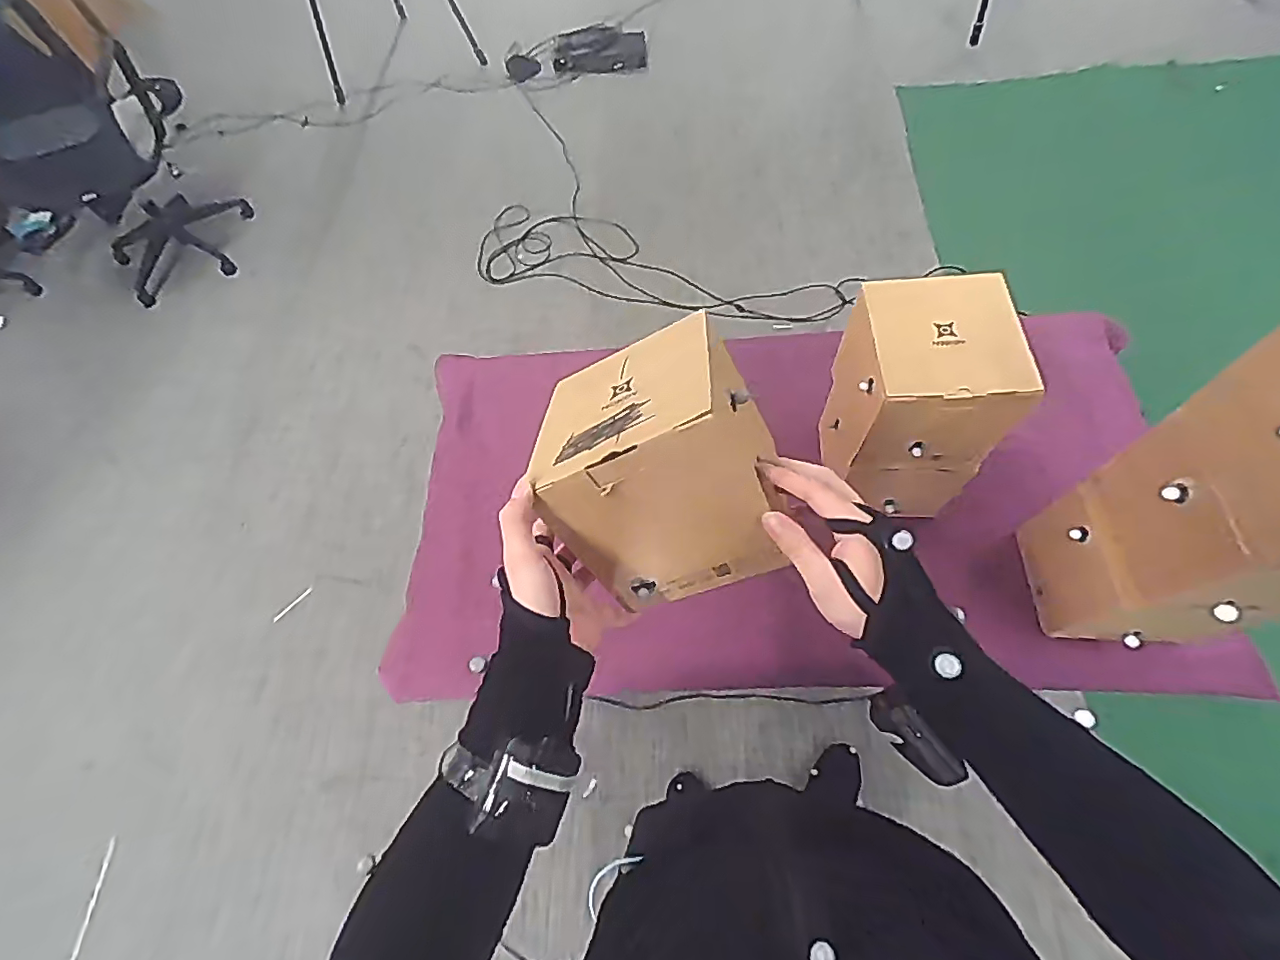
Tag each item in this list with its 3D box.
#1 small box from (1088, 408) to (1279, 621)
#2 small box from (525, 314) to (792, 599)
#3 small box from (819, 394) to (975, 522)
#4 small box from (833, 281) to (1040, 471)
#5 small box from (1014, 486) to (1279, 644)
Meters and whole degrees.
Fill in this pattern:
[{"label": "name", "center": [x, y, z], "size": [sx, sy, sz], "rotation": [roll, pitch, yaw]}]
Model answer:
[{"label": "small box", "center": [0.633, 0.041, 0.577], "size": [0.168, 0.176, 0.179], "rotation": [0, 63, 9]}, {"label": "small box", "center": [0.026, -0.012, 0.495], "size": [0.168, 0.176, 0.179], "rotation": [-22, 34, 22]}, {"label": "small box", "center": [0.380, -0.050, 0.836], "size": [0.168, 0.176, 0.179], "rotation": [1, 64, 8]}, {"label": "small box", "center": [0.357, -0.127, 0.695], "size": [0.168, 0.176, 0.179], "rotation": [-2, 64, 5]}, {"label": "small box", "center": [0.648, 0.119, 0.721], "size": [0.179, 0.176, 0.168], "rotation": [0, 62, 8]}]
